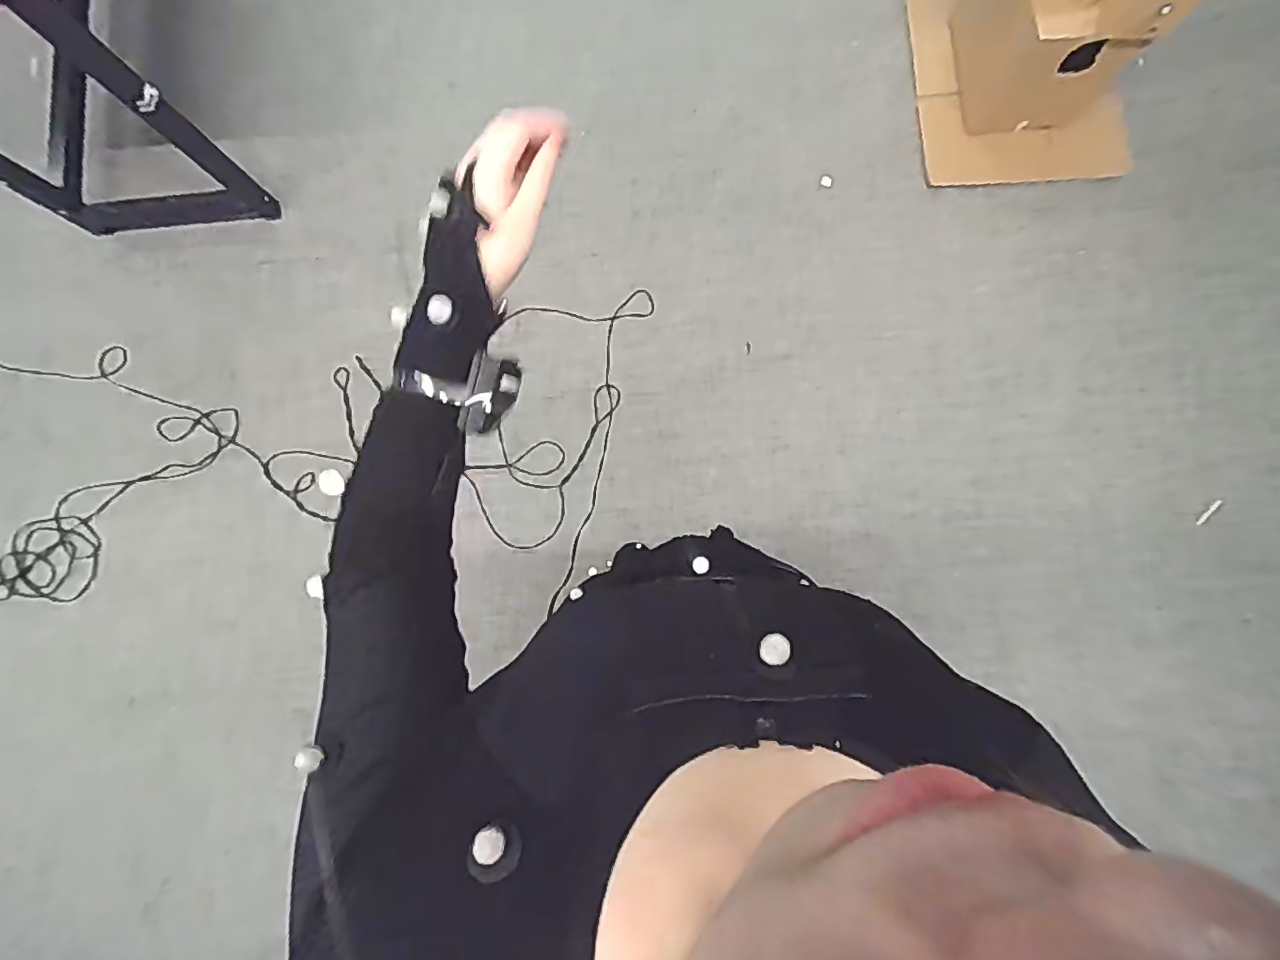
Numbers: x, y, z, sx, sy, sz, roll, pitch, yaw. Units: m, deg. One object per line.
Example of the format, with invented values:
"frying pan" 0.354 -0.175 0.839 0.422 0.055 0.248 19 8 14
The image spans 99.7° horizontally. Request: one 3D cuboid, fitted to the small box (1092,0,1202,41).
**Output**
"small box" 1.192 -1.157 1.246 0.168 0.176 0.179 -1 81 1
